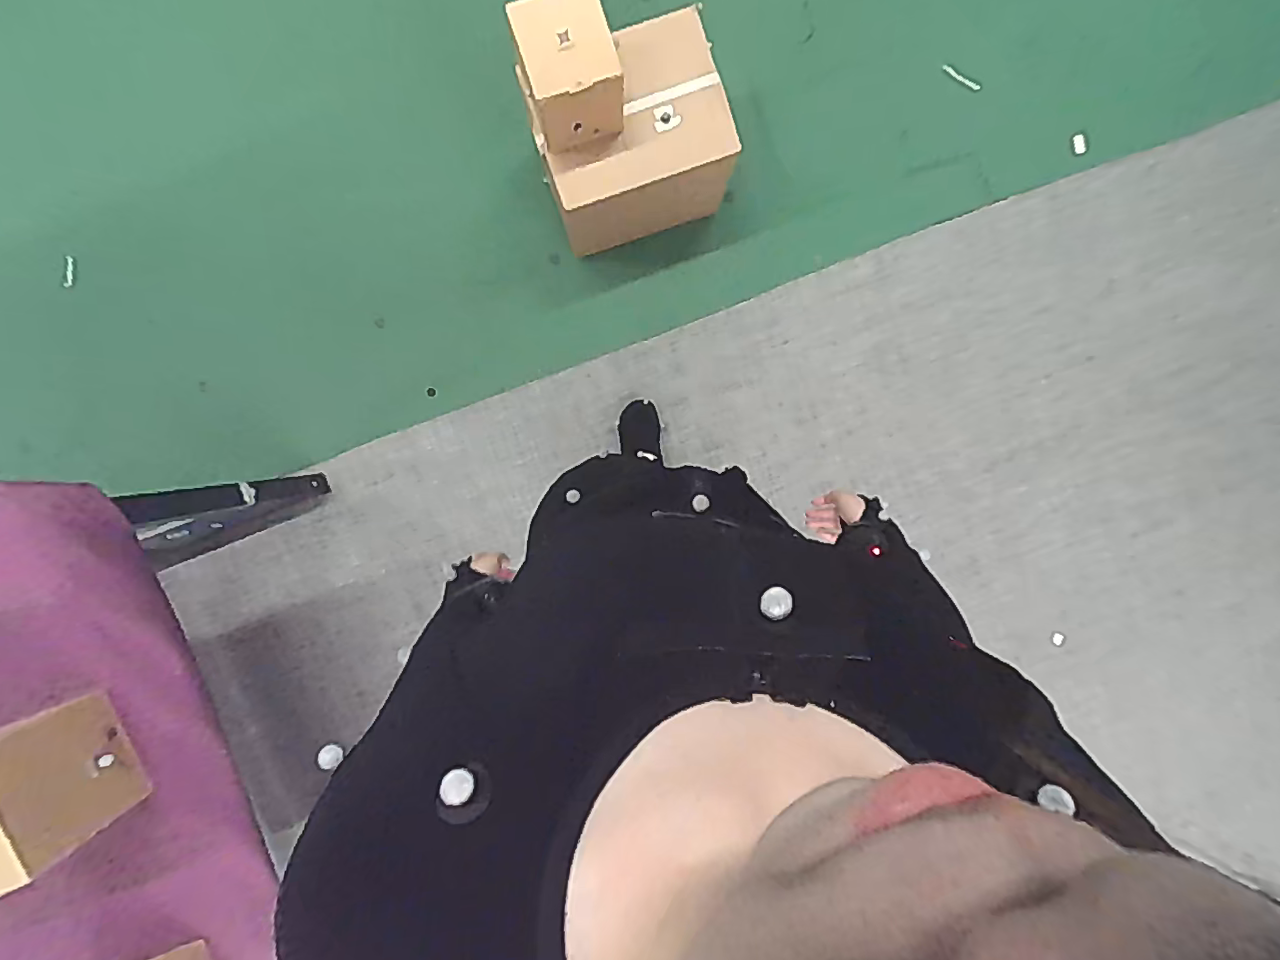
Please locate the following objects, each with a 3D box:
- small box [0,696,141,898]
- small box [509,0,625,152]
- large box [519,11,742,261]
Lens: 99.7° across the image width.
[{"bbox_3d":[-0.797,0.403,0.670,0.179,0.176,0.168,-21,94,-1],"label":"small box"},{"bbox_3d":[-0.134,-0.776,1.033,0.168,0.176,0.179,-19,94,-1],"label":"small box"},{"bbox_3d":[-0.024,-0.778,1.281,0.408,0.320,0.320,-19,95,-1],"label":"large box"}]
